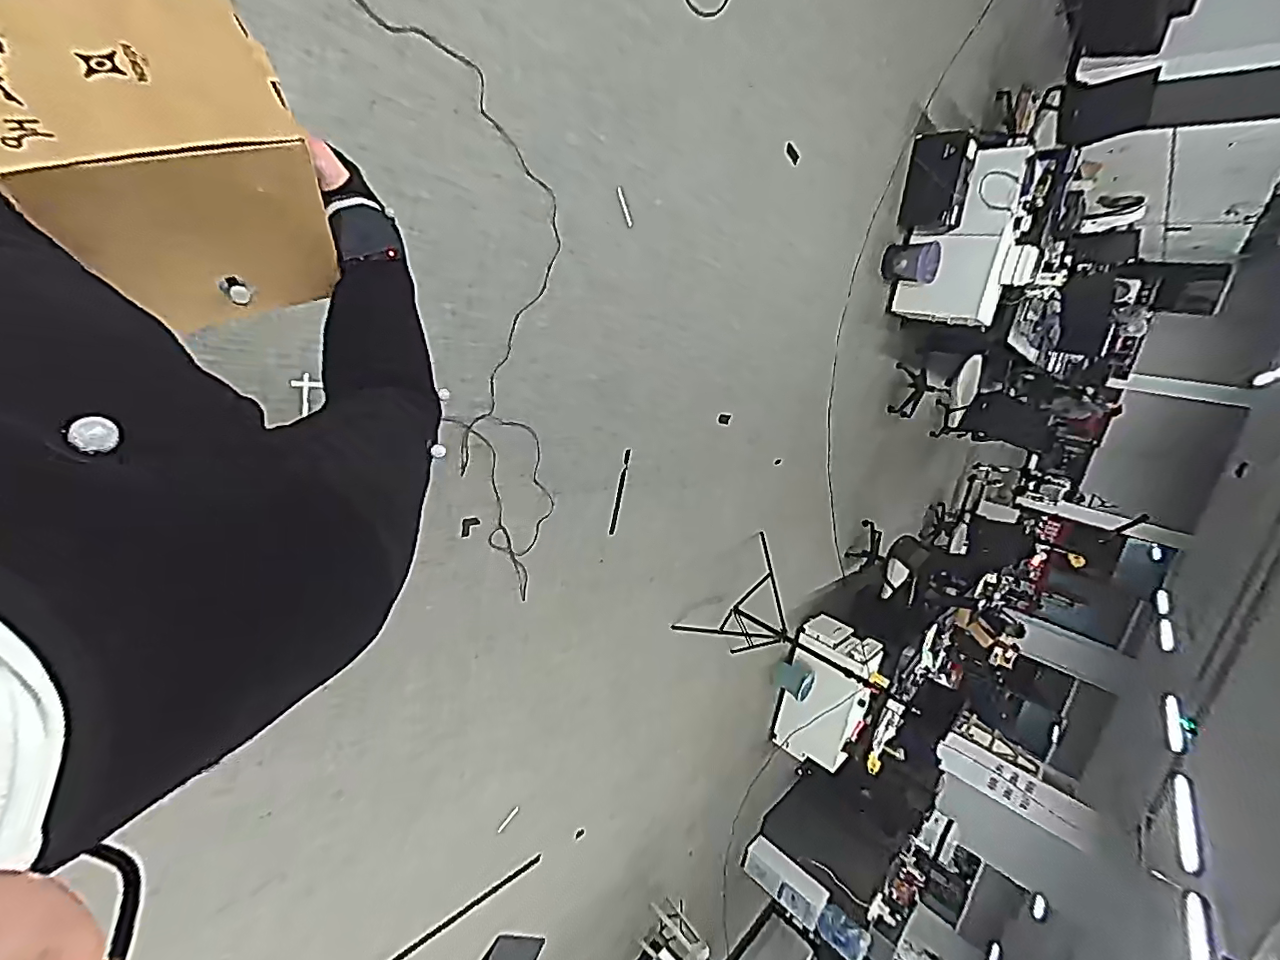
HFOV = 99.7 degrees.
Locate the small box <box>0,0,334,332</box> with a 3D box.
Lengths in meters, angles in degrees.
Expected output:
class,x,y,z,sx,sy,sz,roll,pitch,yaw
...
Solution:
class,x,y,z,sx,sy,sz,roll,pitch,yaw
small box,-0.383,-0.256,0.456,0.179,0.168,0.176,-26,168,-27
